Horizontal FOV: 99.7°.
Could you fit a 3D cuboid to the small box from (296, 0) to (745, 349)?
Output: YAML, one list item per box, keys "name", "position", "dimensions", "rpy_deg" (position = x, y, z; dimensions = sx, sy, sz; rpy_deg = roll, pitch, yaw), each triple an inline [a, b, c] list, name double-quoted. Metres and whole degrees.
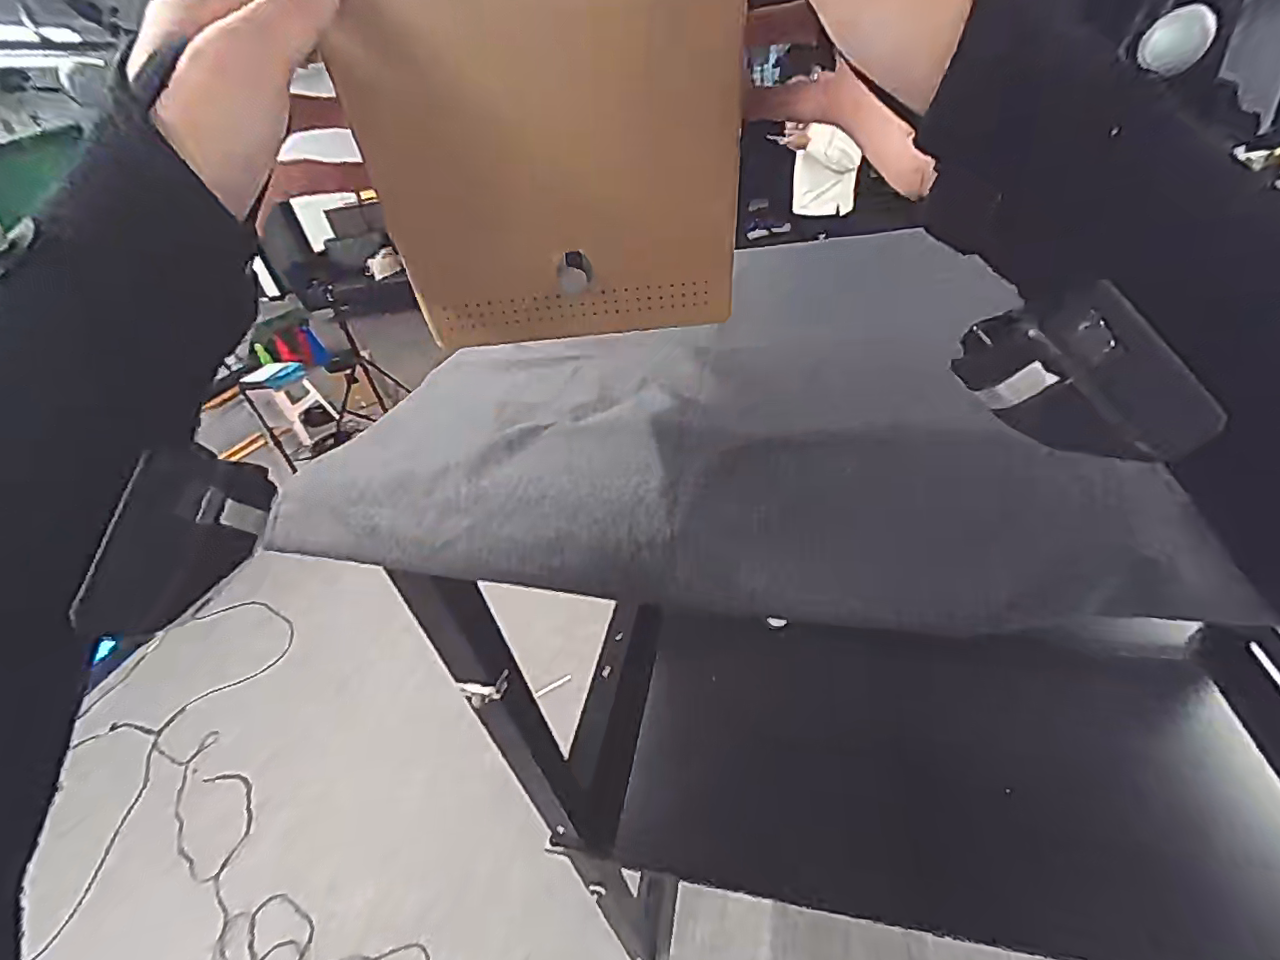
- name: "small box"
  position: [-0.046, -0.194, 0.314]
  dimensions: [0.179, 0.176, 0.168]
  rpy_deg: [-5, 46, 0]
